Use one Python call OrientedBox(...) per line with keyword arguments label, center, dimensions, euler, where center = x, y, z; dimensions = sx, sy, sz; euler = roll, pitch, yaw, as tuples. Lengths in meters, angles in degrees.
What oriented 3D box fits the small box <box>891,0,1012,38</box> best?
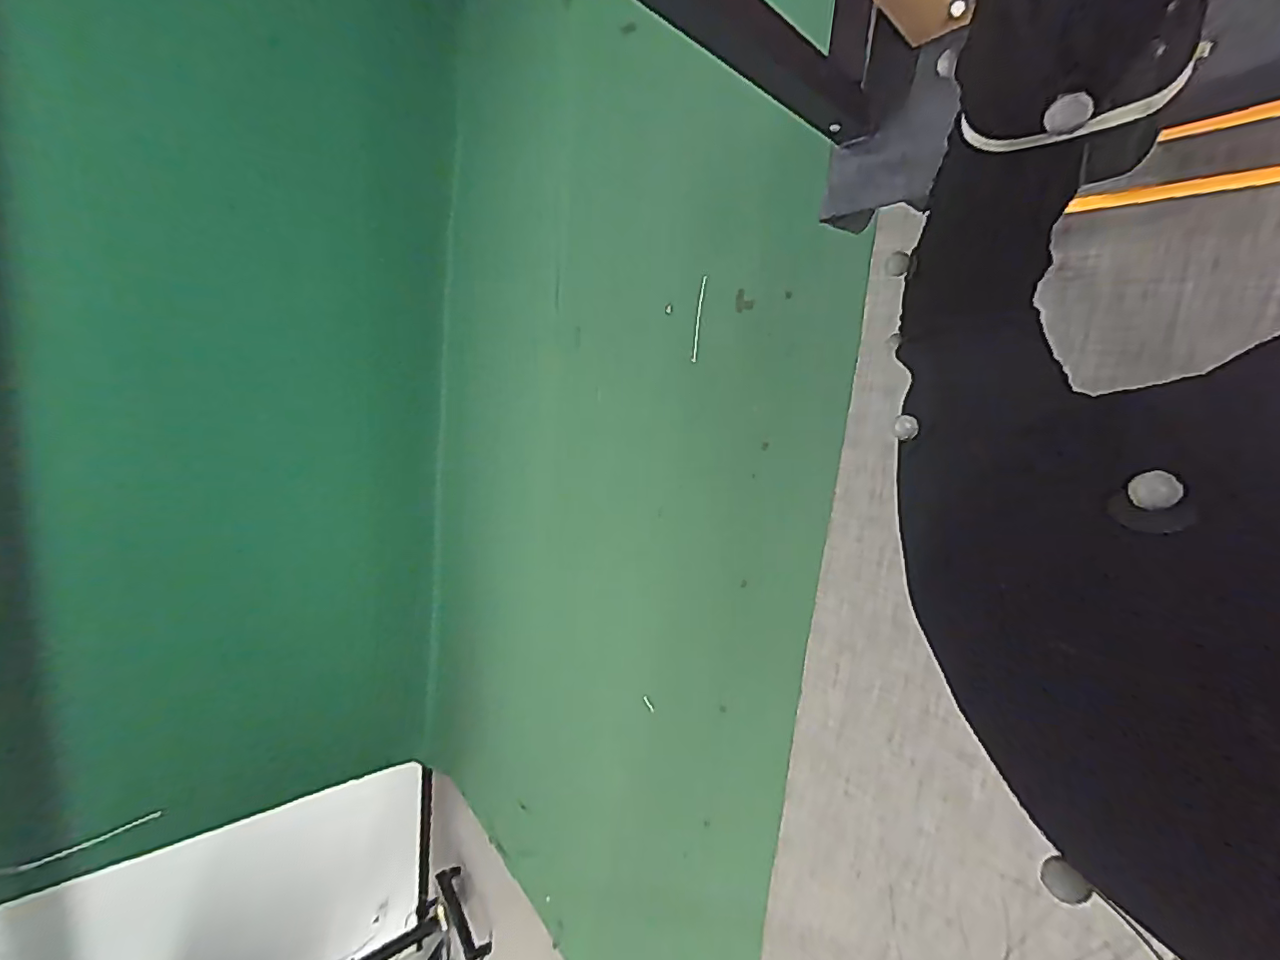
OrientedBox(label="small box", center=(0.377, -0.676, 0.624), dimensions=(0.168, 0.176, 0.179), euler=(12, 101, 49))
